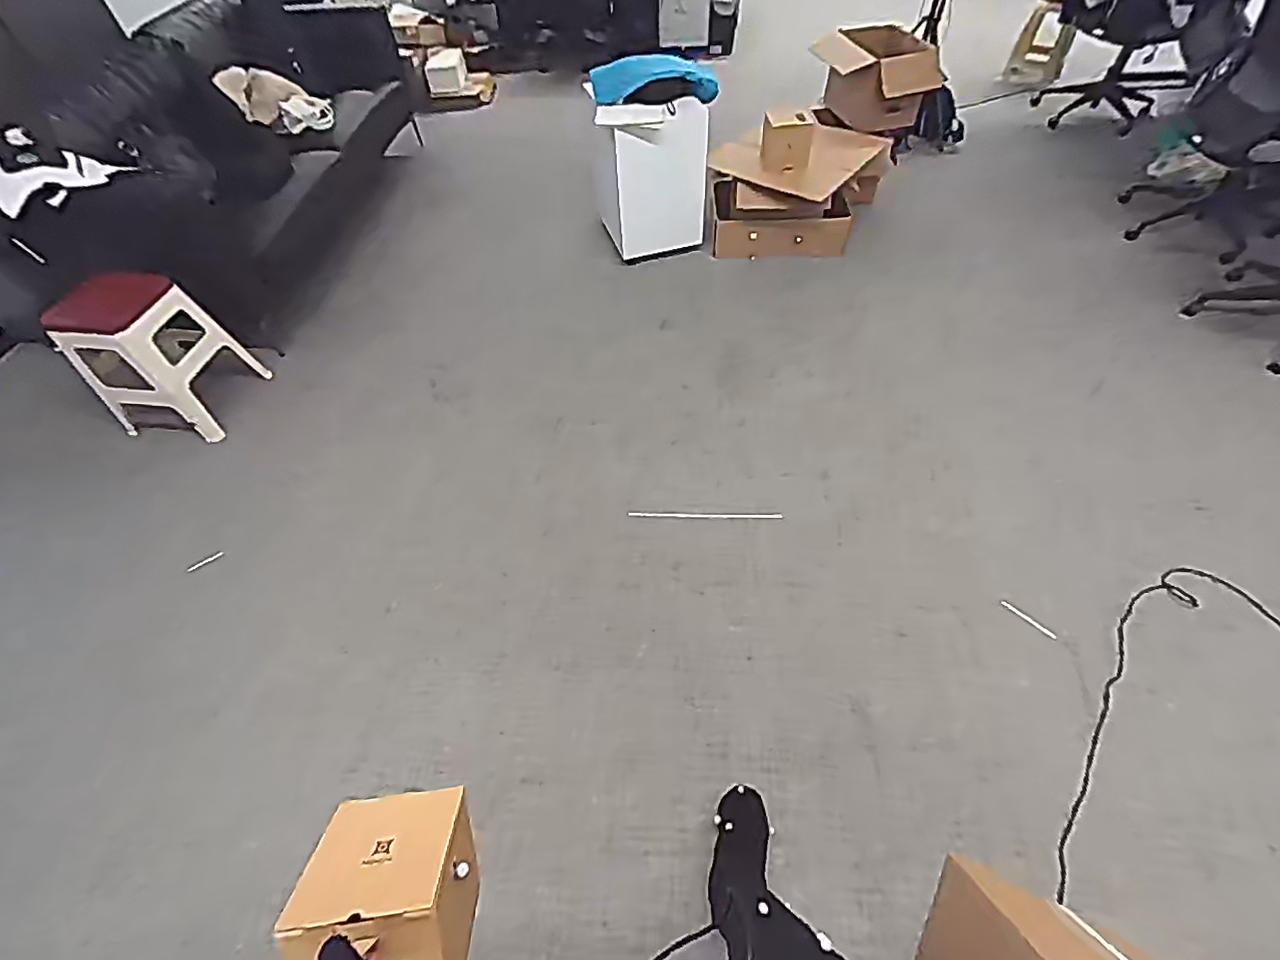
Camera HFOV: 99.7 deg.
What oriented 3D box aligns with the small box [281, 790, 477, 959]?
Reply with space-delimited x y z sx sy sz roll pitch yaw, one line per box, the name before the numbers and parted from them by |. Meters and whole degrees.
small box | -0.308 0.535 0.678 0.168 0.176 0.179 -6 13 -6
